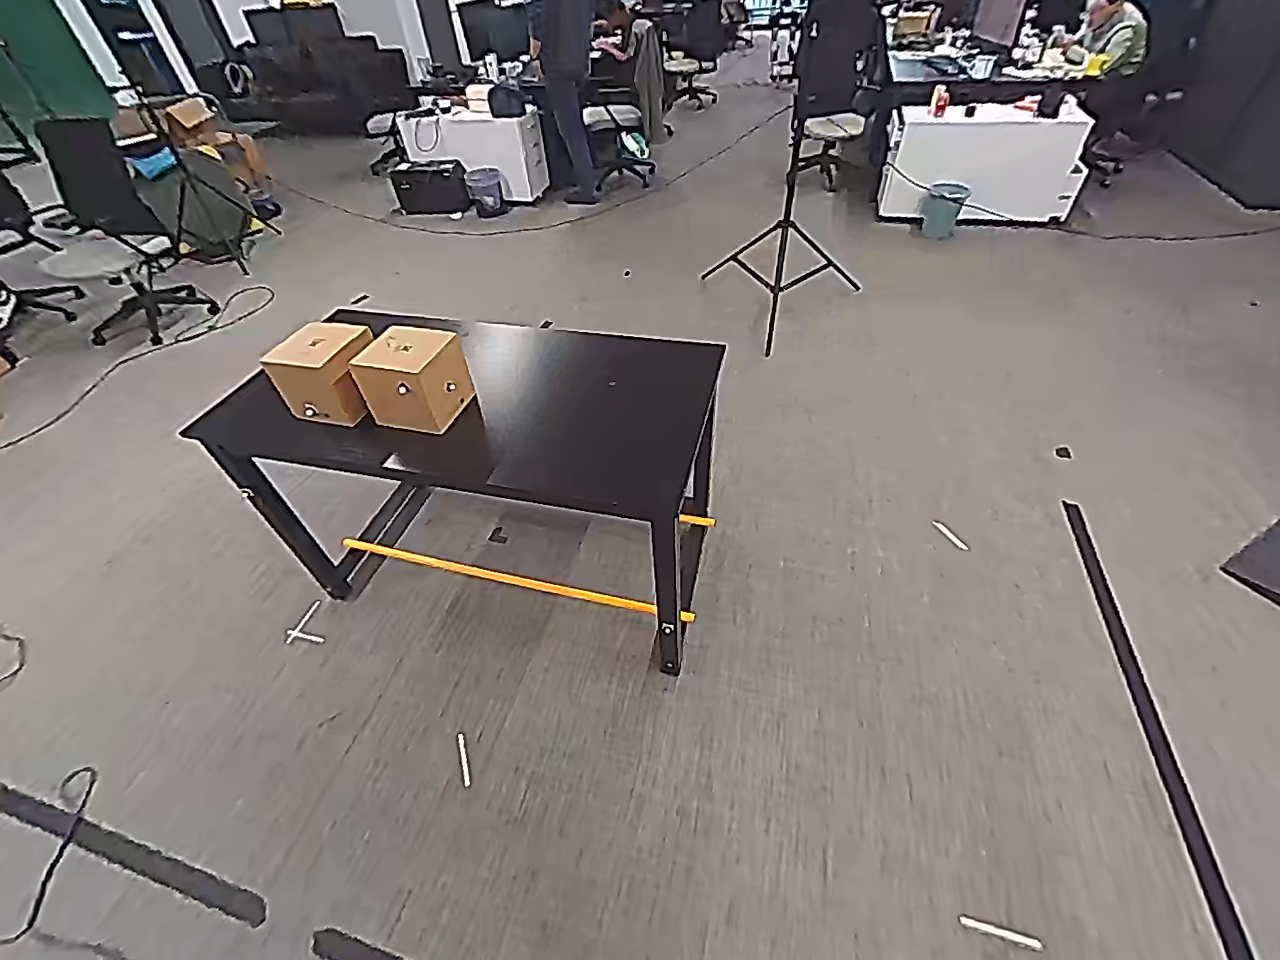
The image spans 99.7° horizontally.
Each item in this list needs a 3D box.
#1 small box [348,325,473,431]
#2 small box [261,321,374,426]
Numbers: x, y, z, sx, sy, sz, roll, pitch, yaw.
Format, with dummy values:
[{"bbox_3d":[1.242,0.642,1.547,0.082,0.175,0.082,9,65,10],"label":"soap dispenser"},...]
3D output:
[{"bbox_3d":[-0.508,-0.230,1.229,0.179,0.176,0.168,9,46,14],"label":"small box"},{"bbox_3d":[-0.724,-0.251,1.270,0.168,0.176,0.179,7,47,13],"label":"small box"}]
